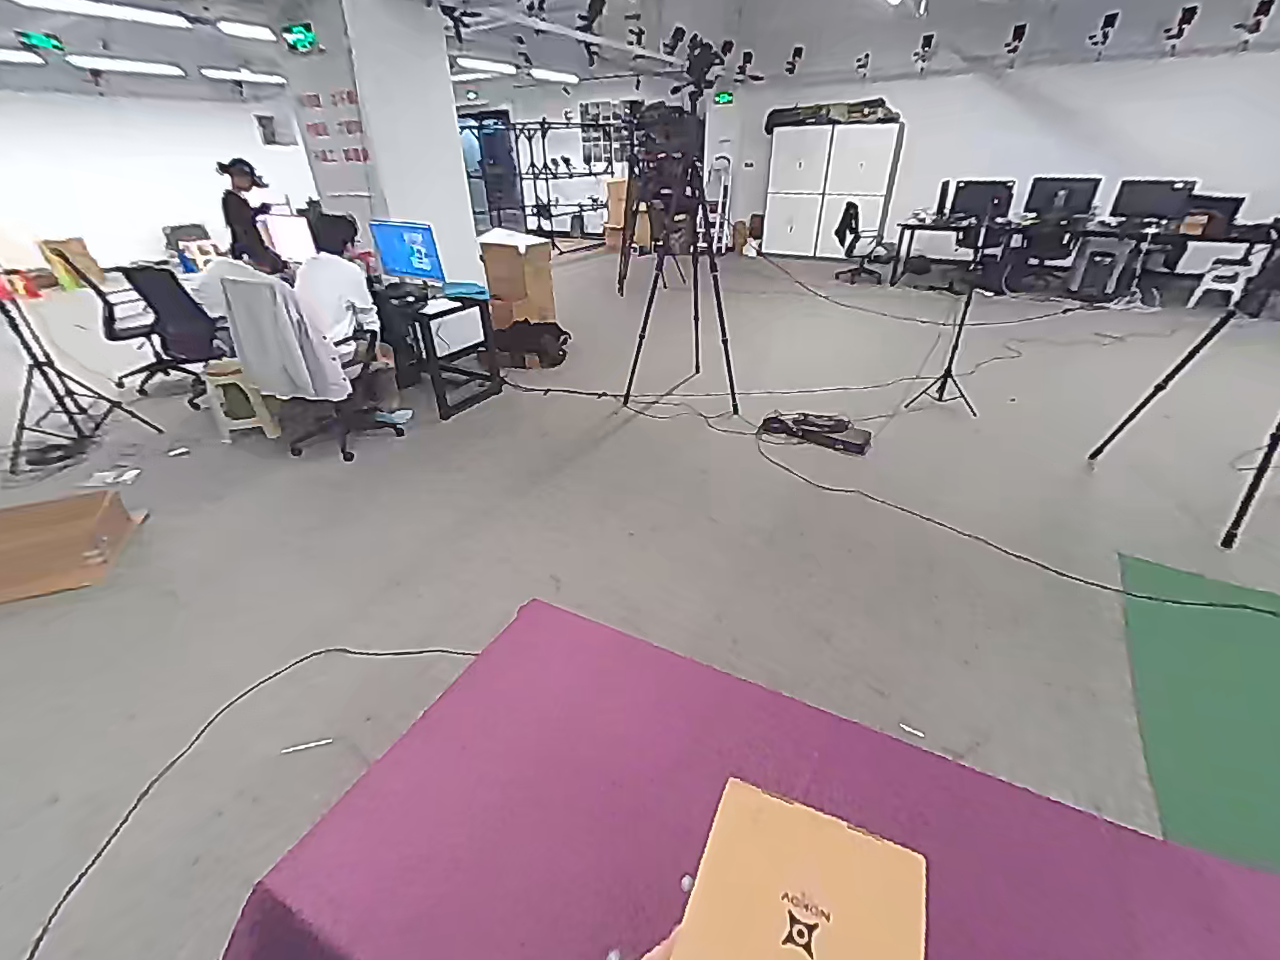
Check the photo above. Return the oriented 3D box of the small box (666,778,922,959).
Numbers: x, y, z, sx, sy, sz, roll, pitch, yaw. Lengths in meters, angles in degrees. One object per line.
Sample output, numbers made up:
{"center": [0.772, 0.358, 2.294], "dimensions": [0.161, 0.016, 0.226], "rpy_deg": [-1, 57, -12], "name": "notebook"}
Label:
{"center": [0.121, 0.399, 0.447], "dimensions": [0.168, 0.176, 0.179], "rpy_deg": [12, 38, 22], "name": "small box"}
